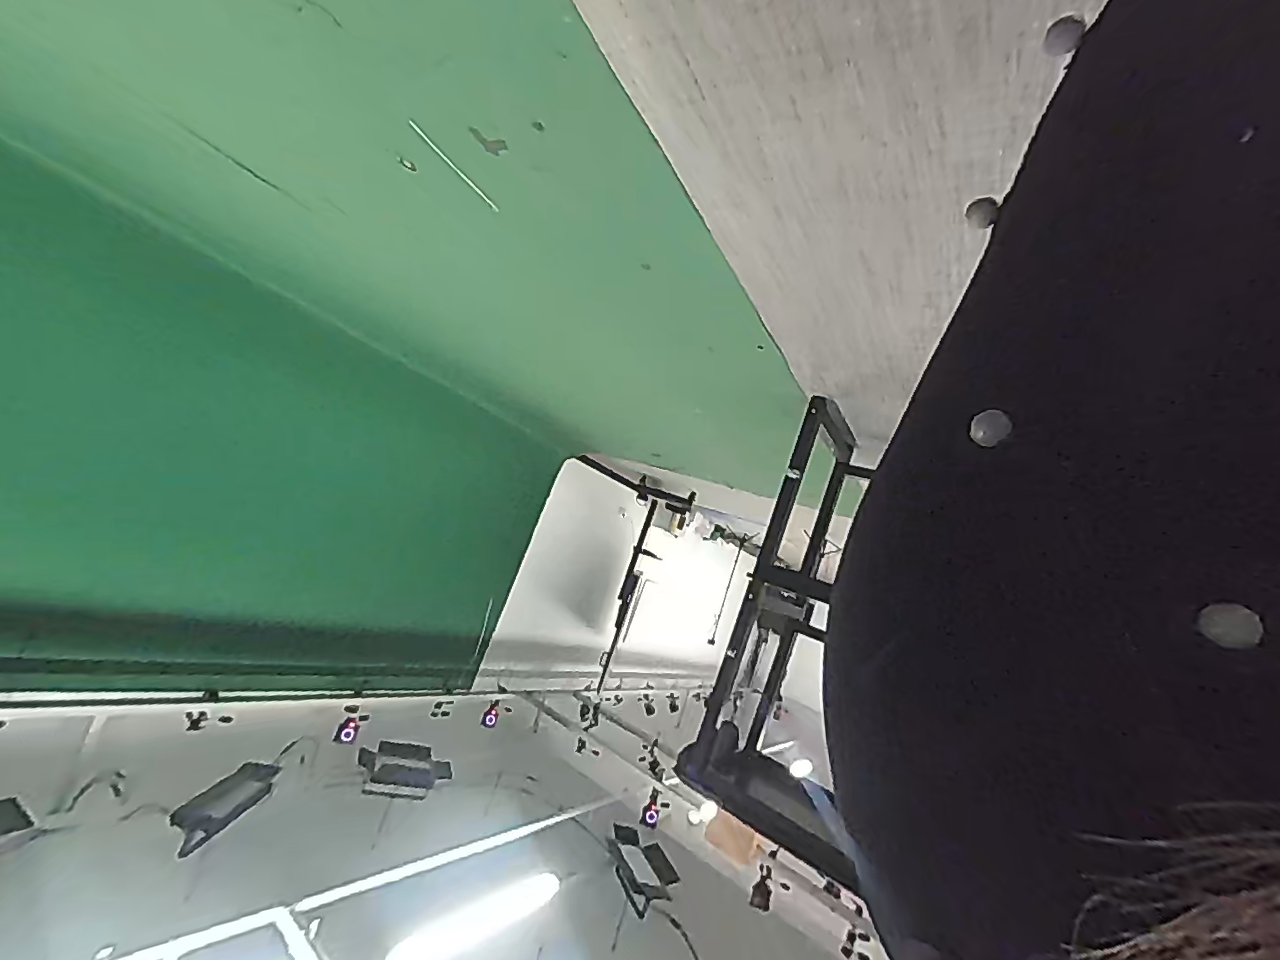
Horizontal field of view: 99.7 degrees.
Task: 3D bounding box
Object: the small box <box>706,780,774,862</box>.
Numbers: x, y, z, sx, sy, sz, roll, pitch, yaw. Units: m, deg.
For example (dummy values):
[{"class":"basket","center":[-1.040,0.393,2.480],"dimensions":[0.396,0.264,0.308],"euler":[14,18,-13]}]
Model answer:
[{"class":"small box","center":[0.357,1.186,1.897],"dimensions":[0.168,0.176,0.179],"euler":[15,170,31]}]
